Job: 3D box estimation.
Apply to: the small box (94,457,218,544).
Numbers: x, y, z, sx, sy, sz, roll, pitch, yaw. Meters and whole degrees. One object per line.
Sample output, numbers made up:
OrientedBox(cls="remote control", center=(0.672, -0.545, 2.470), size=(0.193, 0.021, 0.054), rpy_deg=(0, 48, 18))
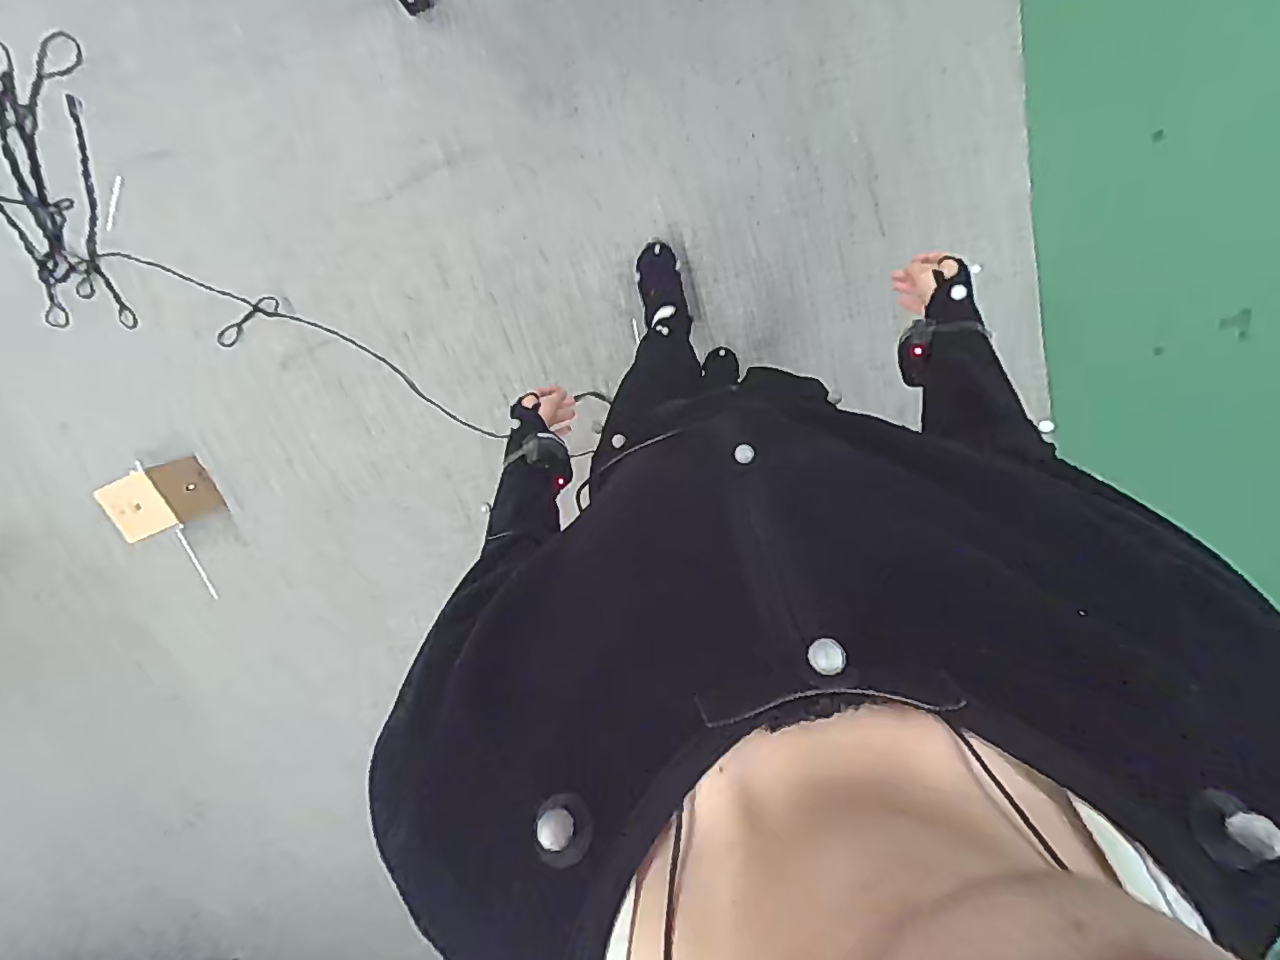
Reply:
OrientedBox(cls="small box", center=(-1.350, 0.051, 1.529), size=(0.179, 0.176, 0.168), rpy_deg=(-21, 104, 9))
